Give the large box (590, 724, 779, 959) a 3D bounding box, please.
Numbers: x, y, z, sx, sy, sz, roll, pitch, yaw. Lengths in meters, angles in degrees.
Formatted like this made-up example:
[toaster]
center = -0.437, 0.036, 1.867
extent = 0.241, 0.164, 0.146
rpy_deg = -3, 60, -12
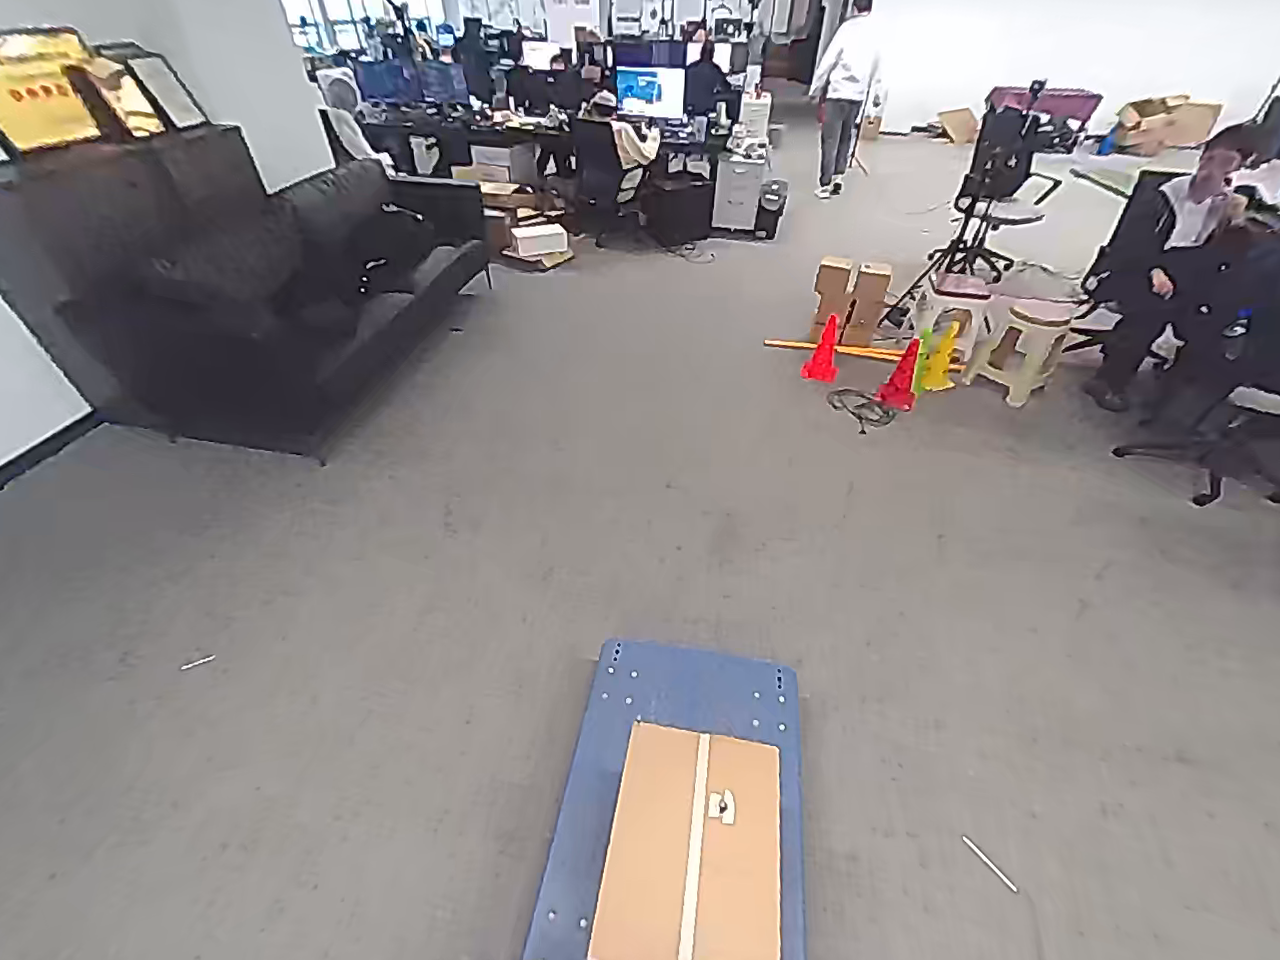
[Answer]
[large box]
center = 0.096, 0.787, 1.105
extent = 0.320, 0.320, 0.408
rpy_deg = 7, 41, 7
